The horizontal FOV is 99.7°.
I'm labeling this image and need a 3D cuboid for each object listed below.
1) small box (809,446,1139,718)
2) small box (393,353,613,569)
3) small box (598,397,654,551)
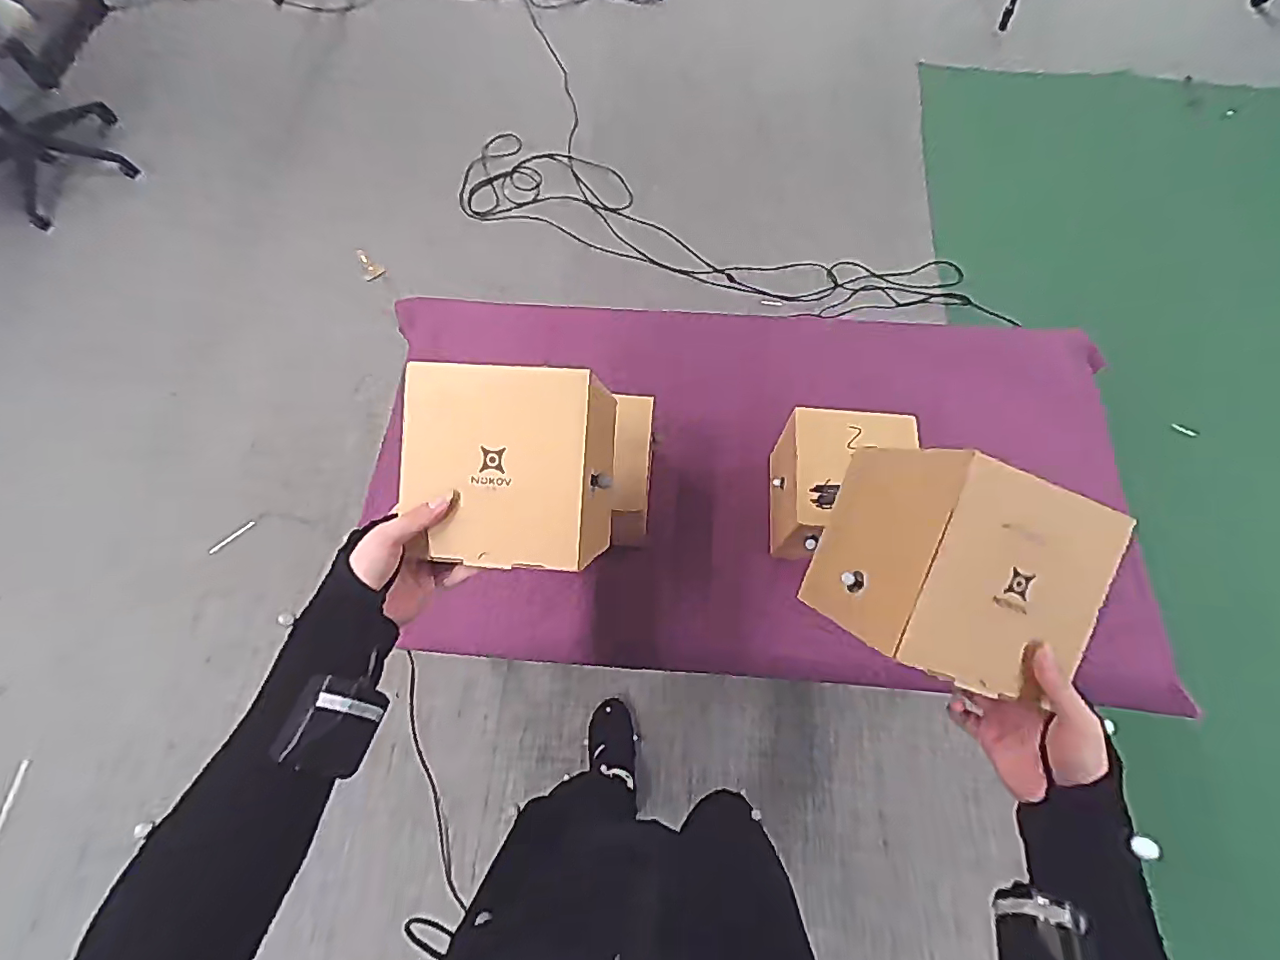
[{"bbox_3d":[0.282,0.078,0.499,0.168,0.176,0.179,21,90,-10],"label":"small box"},{"bbox_3d":[-0.120,-0.017,0.541,0.168,0.176,0.179,4,91,4],"label":"small box"},{"bbox_3d":[-0.070,-0.008,0.791,0.168,0.176,0.179,5,68,2],"label":"small box"}]
